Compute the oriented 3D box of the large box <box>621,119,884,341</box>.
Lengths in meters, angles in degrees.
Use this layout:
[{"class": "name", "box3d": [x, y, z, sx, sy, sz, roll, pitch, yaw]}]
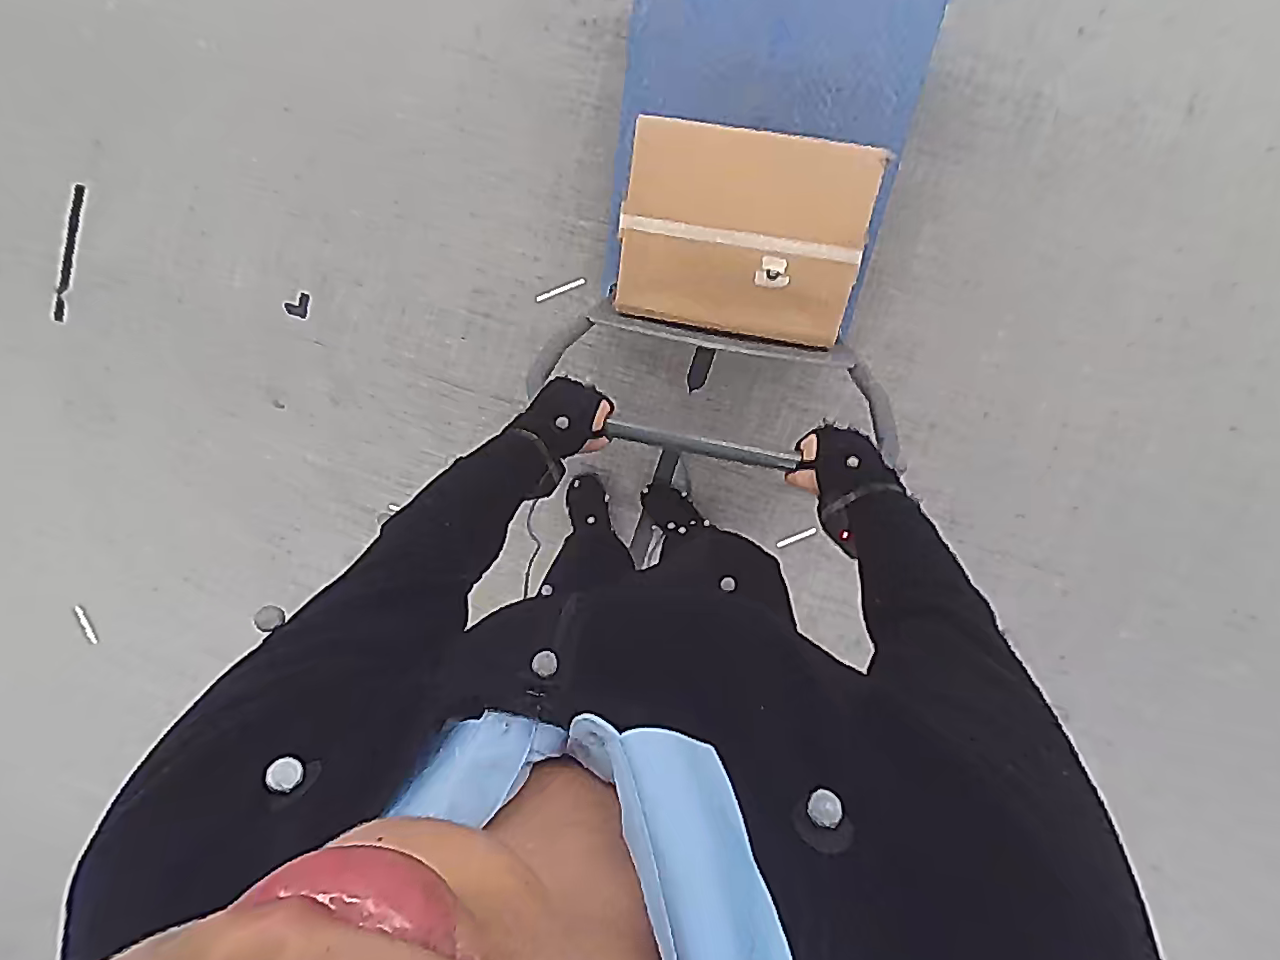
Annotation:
[{"class": "large box", "box3d": [0.195, -0.480, 1.071, 0.408, 0.320, 0.320, 11, 115, 4]}]
